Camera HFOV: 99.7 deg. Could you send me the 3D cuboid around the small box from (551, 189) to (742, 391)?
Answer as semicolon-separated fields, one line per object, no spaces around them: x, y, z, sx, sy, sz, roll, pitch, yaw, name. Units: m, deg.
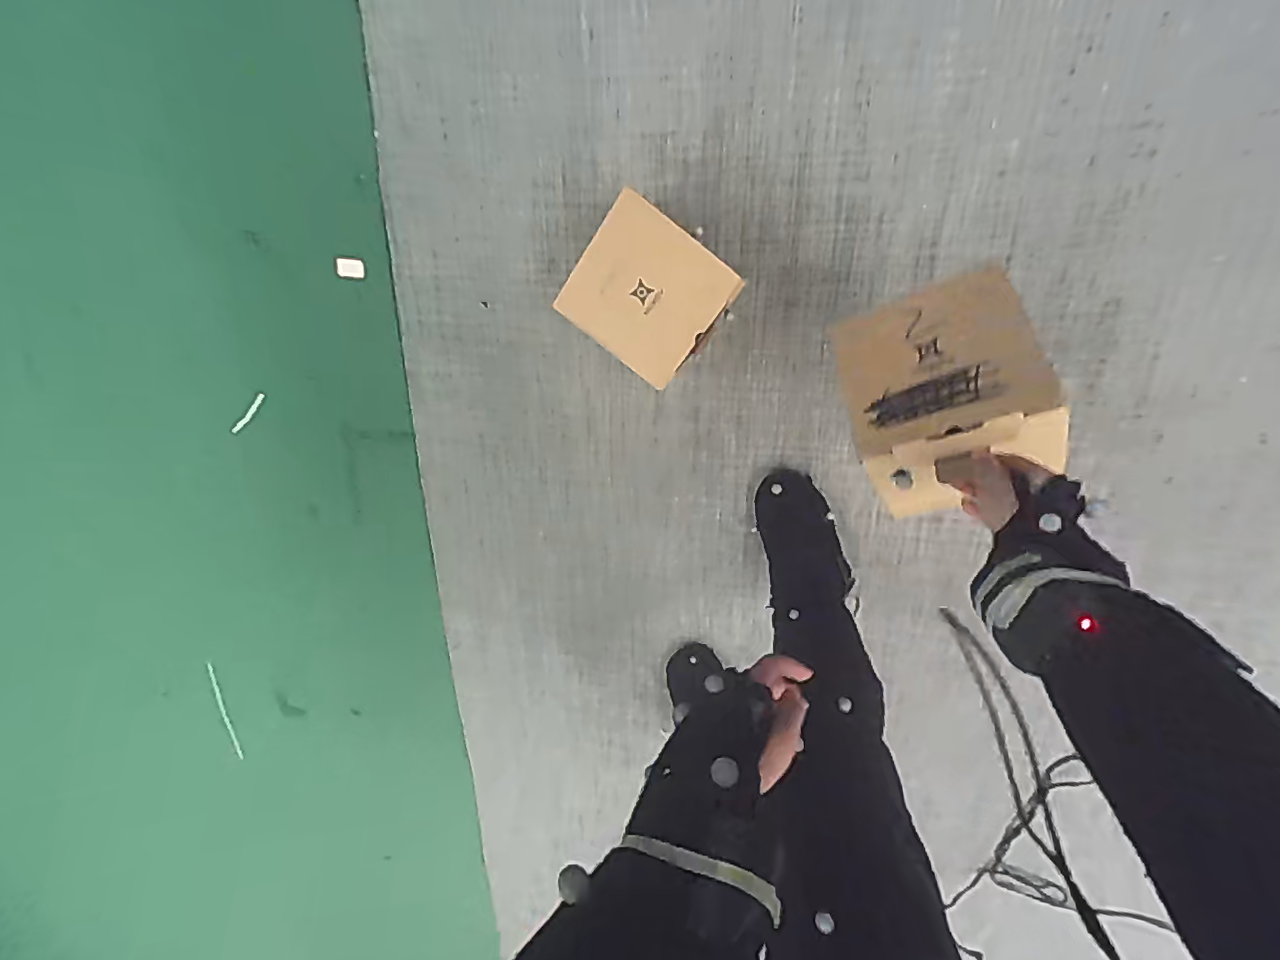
0.020;-0.246;0.711;0.179;0.176;0.168;38;113;-2;small box
